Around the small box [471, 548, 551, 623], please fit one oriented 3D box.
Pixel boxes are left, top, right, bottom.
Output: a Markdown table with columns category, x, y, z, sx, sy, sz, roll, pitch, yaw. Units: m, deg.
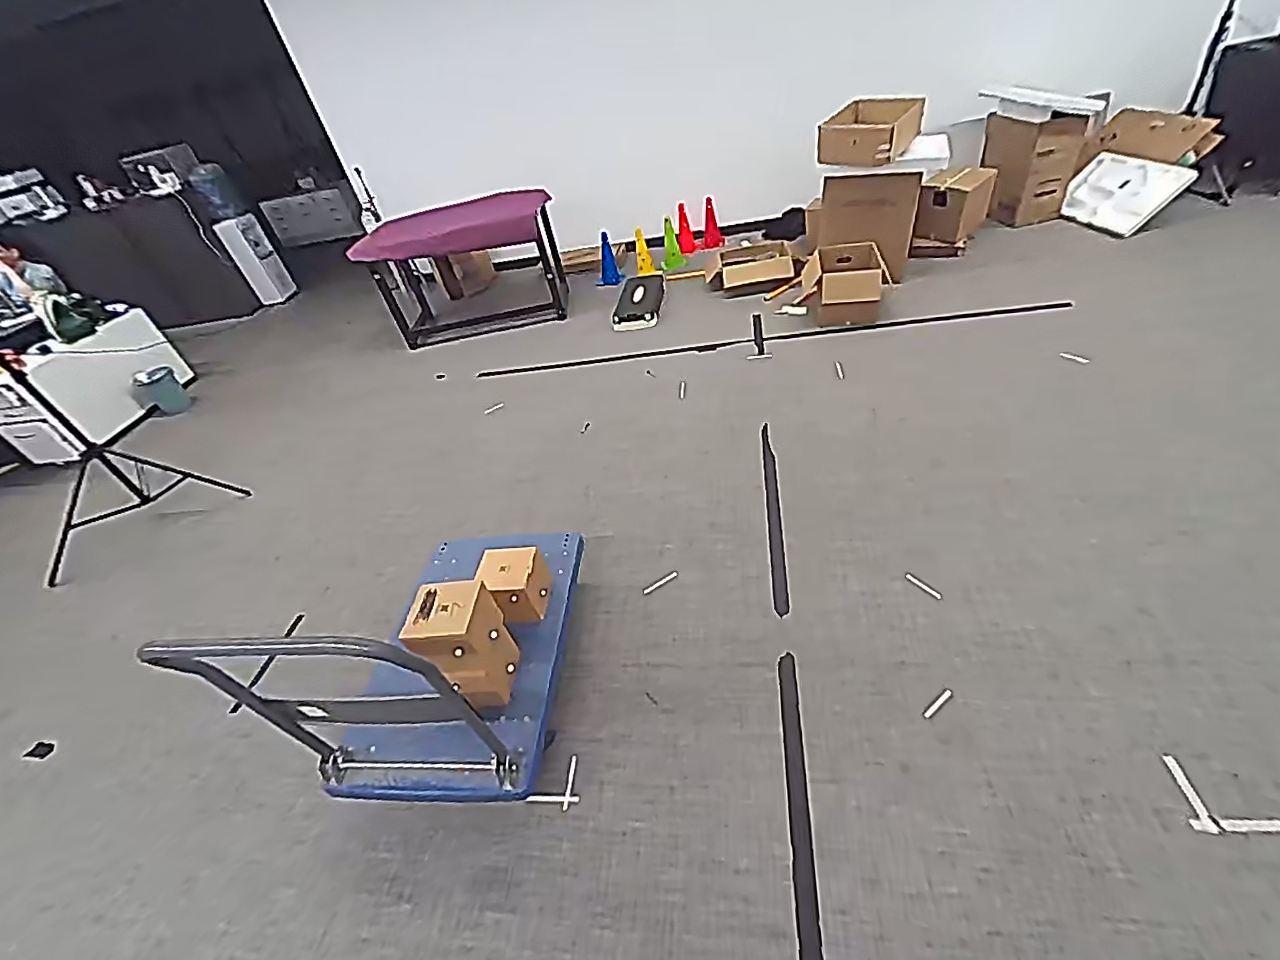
| category | x | y | z | sx | sy | sz | roll | pitch | yaw |
| --- | --- | --- | --- | --- | --- | --- | --- | --- | --- |
| small box | -0.399 | 0.334 | 1.699 | 0.179 | 0.176 | 0.168 | -5 | 41 | 10 |

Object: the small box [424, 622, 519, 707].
| category | x | y | z | sx | sy | sz | roll | pitch | yaw |
| --- | --- | --- | --- | --- | --- | --- | --- | --- | --- |
| small box | -0.459 | 0.515 | 1.503 | 0.179 | 0.176 | 0.168 | -6 | 41 | 9 |
